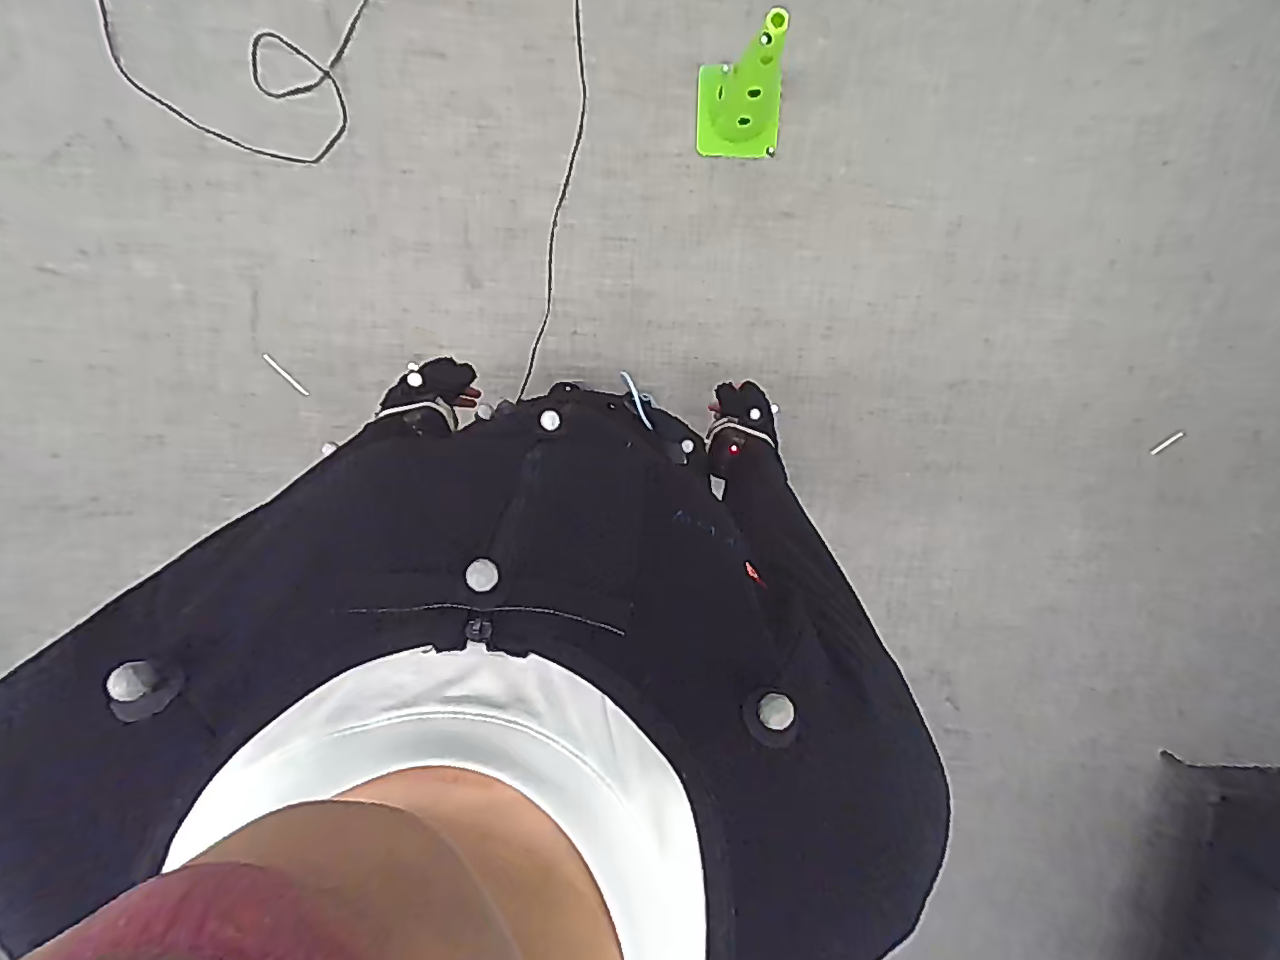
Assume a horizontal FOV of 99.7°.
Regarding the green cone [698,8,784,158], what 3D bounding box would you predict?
[{"bbox_3d":[0.244,-0.864,1.146,0.202,0.368,0.200,1,100,0],"label":"green cone"}]
